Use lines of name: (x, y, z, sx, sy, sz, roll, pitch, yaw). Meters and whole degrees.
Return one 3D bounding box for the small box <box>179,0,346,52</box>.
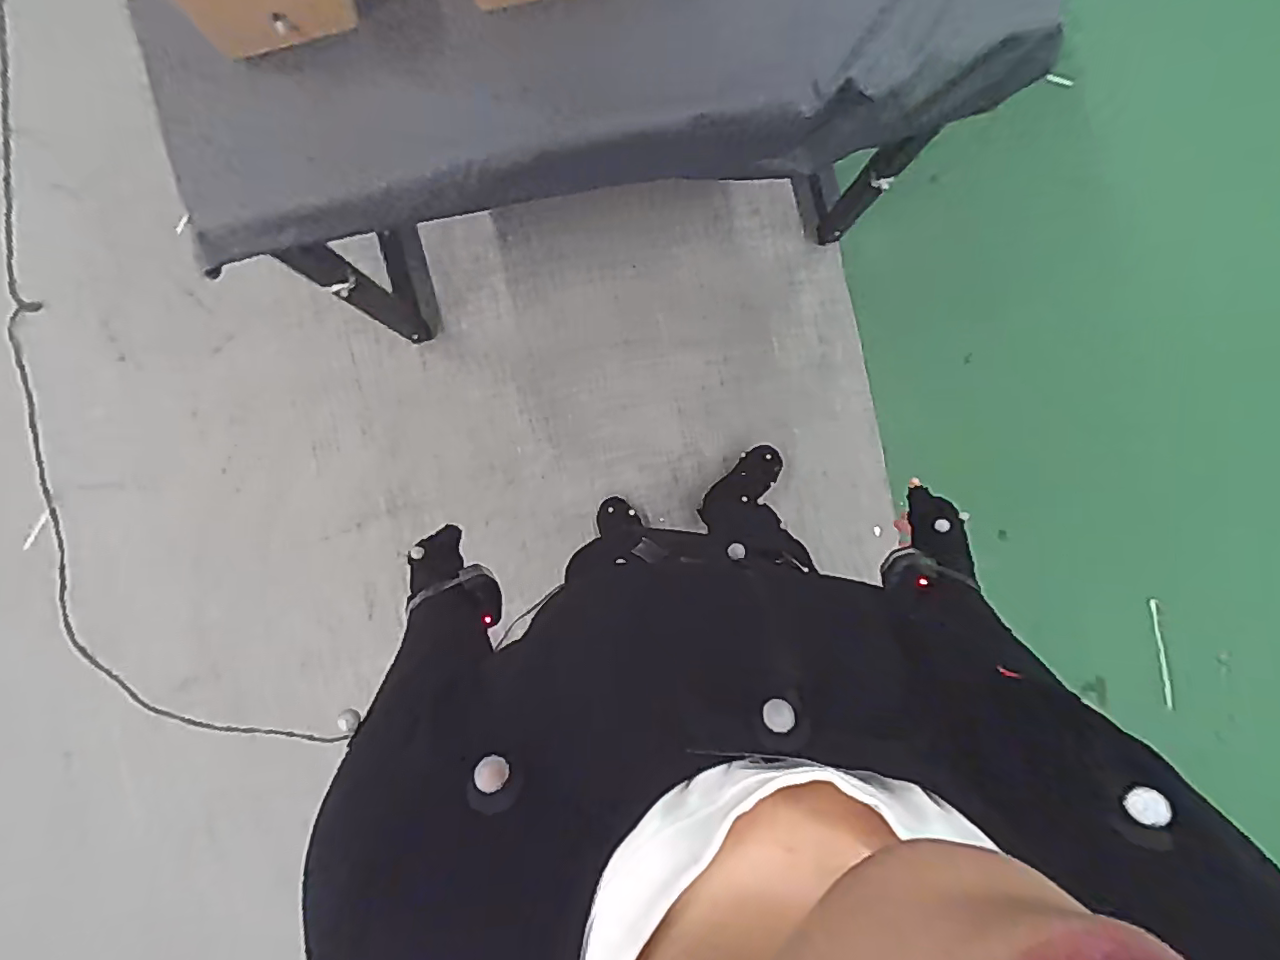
small box: (-0.472, -0.652, 0.624, 0.179, 0.176, 0.168, -17, 92, -3)
